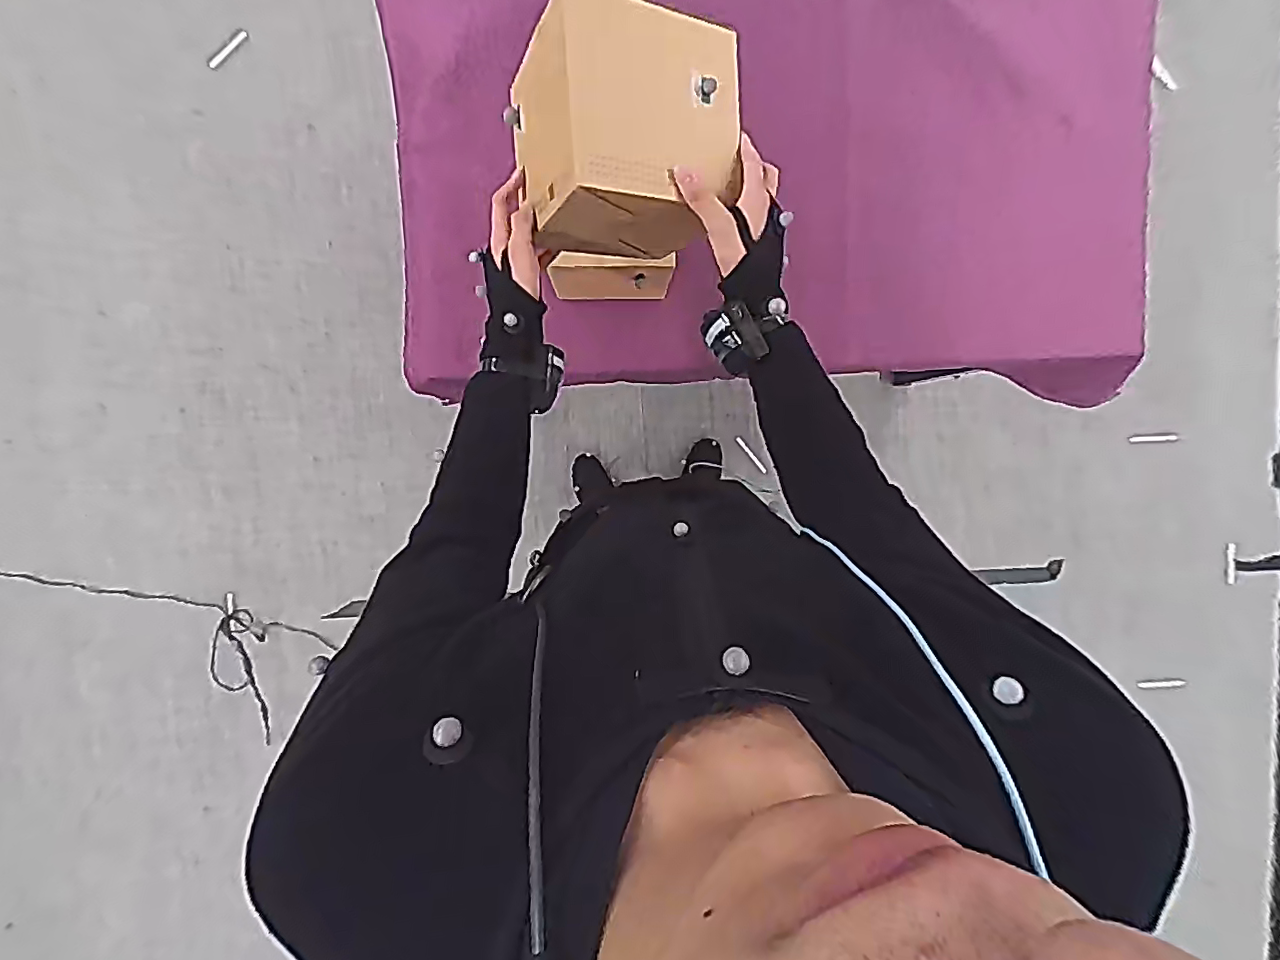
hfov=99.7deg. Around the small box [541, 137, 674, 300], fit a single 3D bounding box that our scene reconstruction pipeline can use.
[{"bbox_3d":[-0.047,-0.369,0.789,0.179,0.176,0.168,-1,94,-3],"label":"small box"}]
